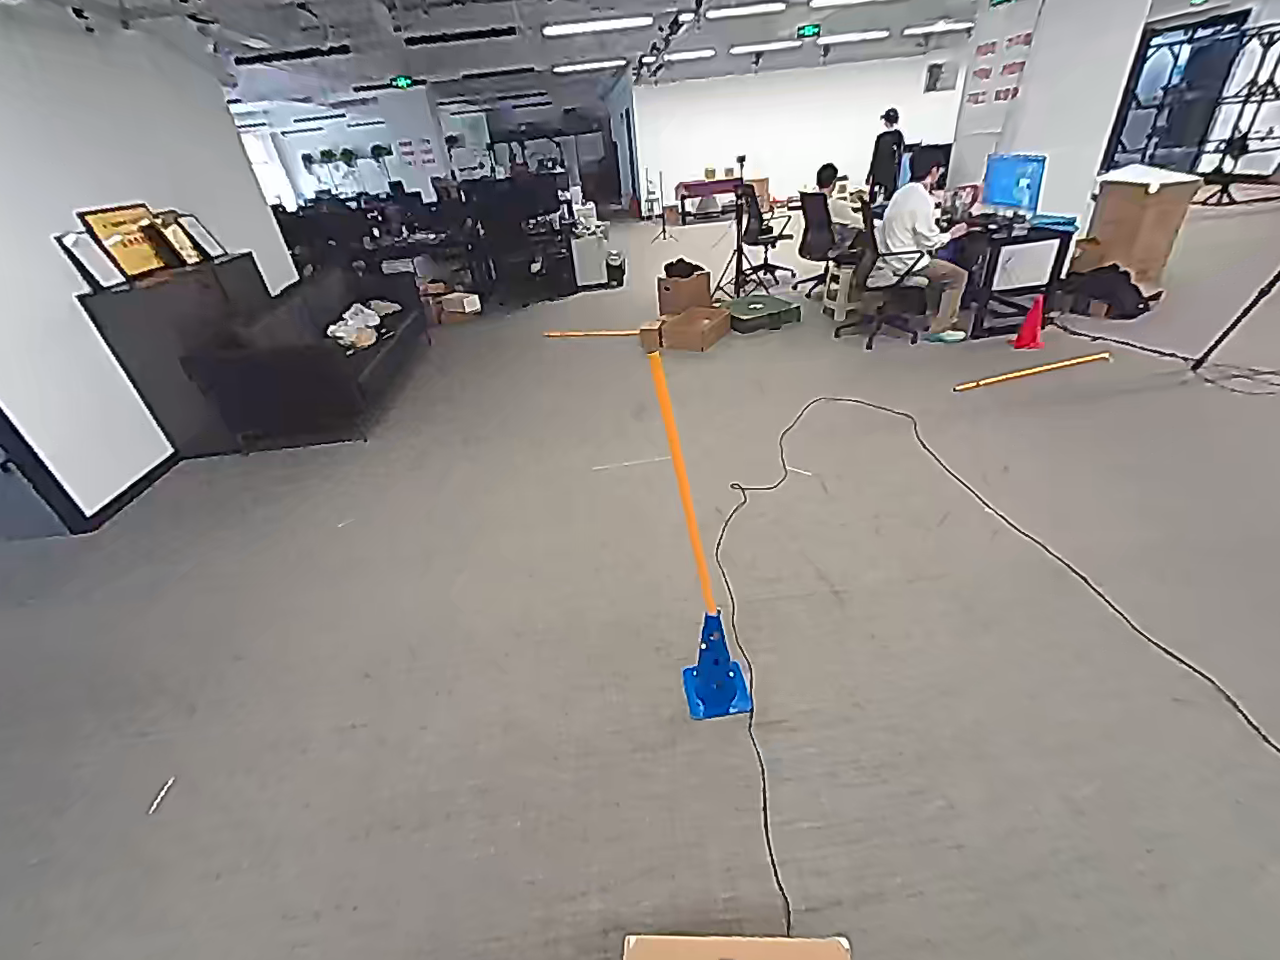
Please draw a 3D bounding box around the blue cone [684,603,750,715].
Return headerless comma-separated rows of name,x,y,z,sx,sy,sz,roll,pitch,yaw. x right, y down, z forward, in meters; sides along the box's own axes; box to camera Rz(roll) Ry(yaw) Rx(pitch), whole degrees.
blue cone,0.231,0.538,1.683,0.193,0.380,0.192,-11,32,-3
